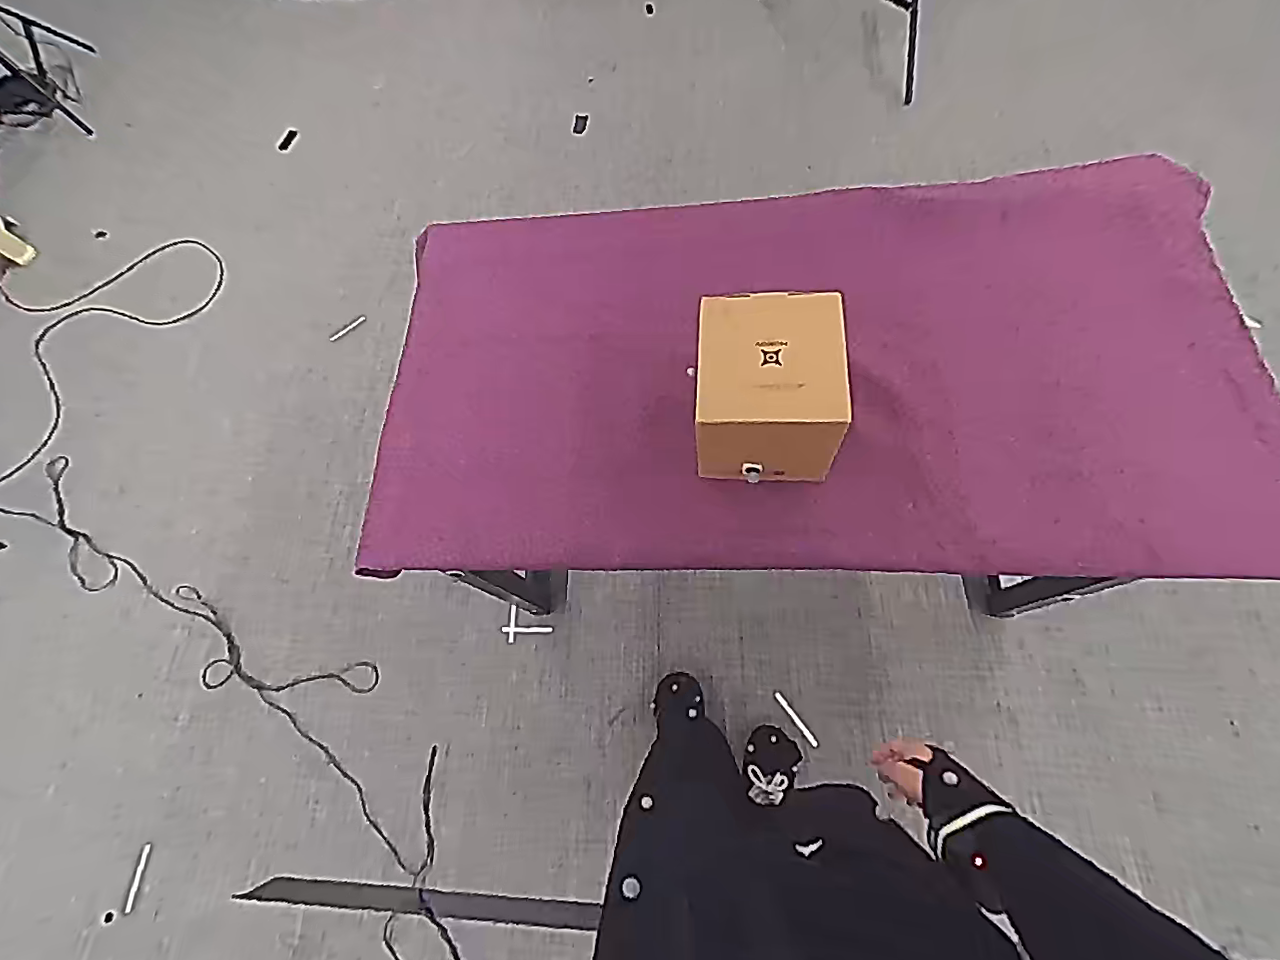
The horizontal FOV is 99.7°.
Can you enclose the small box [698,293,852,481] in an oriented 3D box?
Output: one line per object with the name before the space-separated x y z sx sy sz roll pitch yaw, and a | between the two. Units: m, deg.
small box | 0.160 -0.112 0.687 0.168 0.176 0.179 1 68 9
